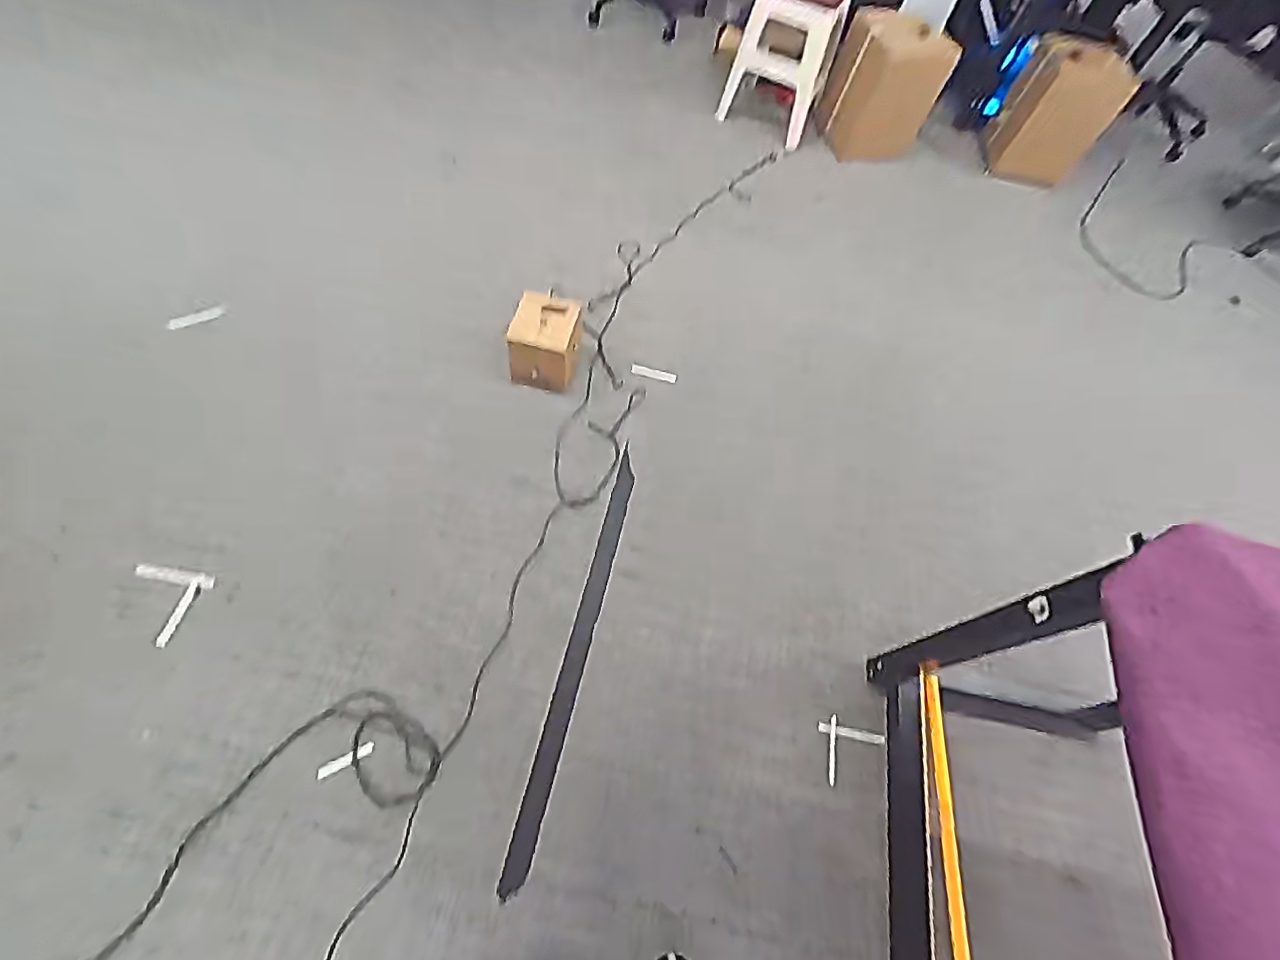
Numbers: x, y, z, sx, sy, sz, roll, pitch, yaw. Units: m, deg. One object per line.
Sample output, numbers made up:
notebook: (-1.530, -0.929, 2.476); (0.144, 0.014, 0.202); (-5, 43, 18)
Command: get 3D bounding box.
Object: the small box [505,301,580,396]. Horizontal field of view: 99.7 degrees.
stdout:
small box: (-0.275, -0.373, 1.546); (0.168, 0.176, 0.179); (13, 61, 0)
